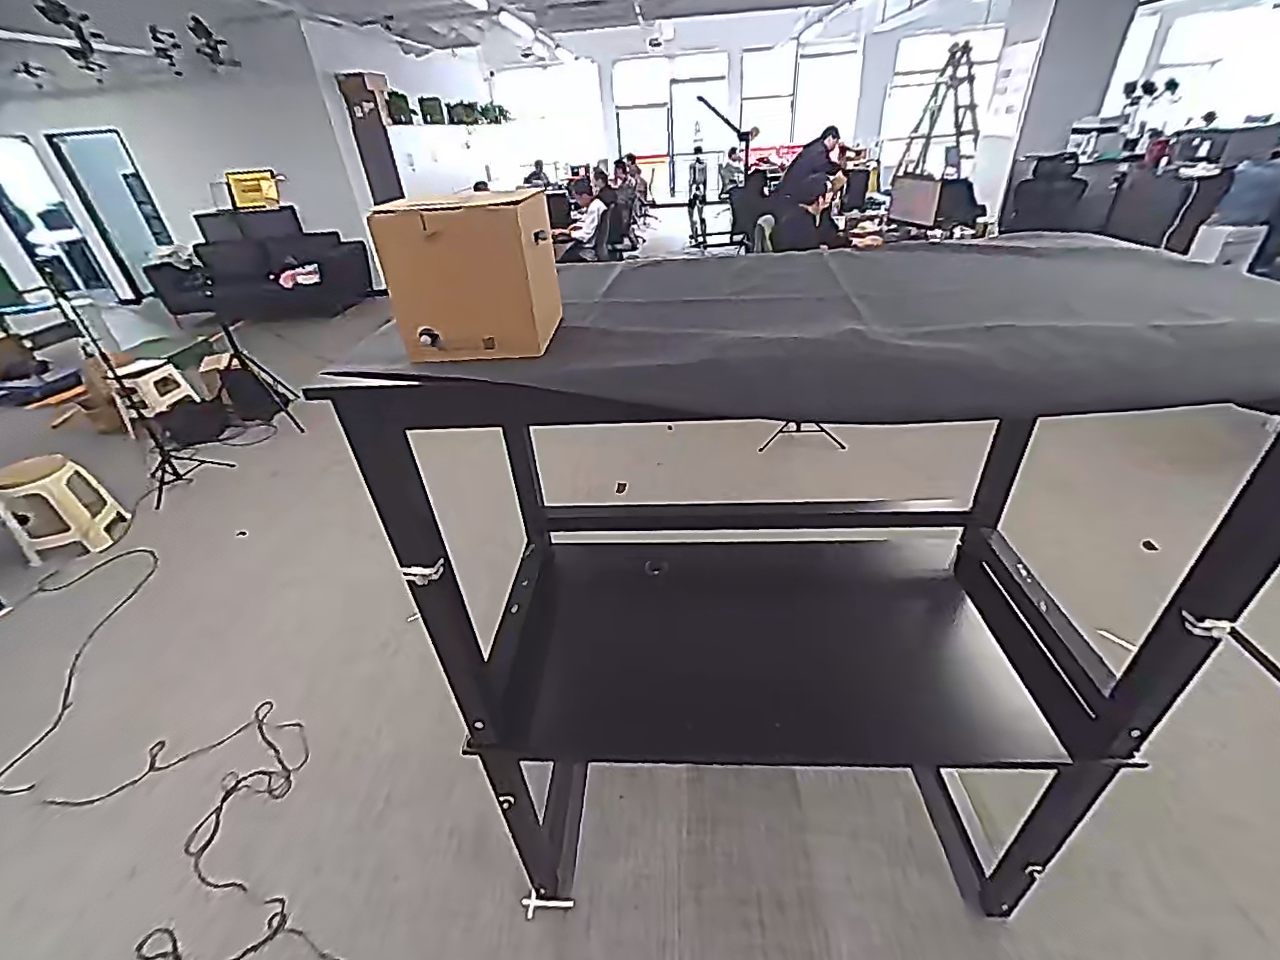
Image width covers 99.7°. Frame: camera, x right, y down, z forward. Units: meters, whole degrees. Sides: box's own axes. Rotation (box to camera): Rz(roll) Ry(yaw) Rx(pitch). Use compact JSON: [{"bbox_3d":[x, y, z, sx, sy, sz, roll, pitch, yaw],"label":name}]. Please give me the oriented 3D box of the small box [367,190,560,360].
[{"bbox_3d":[-0.200,-0.255,0.677,0.168,0.176,0.179,-2,33,3],"label":"small box"}]
